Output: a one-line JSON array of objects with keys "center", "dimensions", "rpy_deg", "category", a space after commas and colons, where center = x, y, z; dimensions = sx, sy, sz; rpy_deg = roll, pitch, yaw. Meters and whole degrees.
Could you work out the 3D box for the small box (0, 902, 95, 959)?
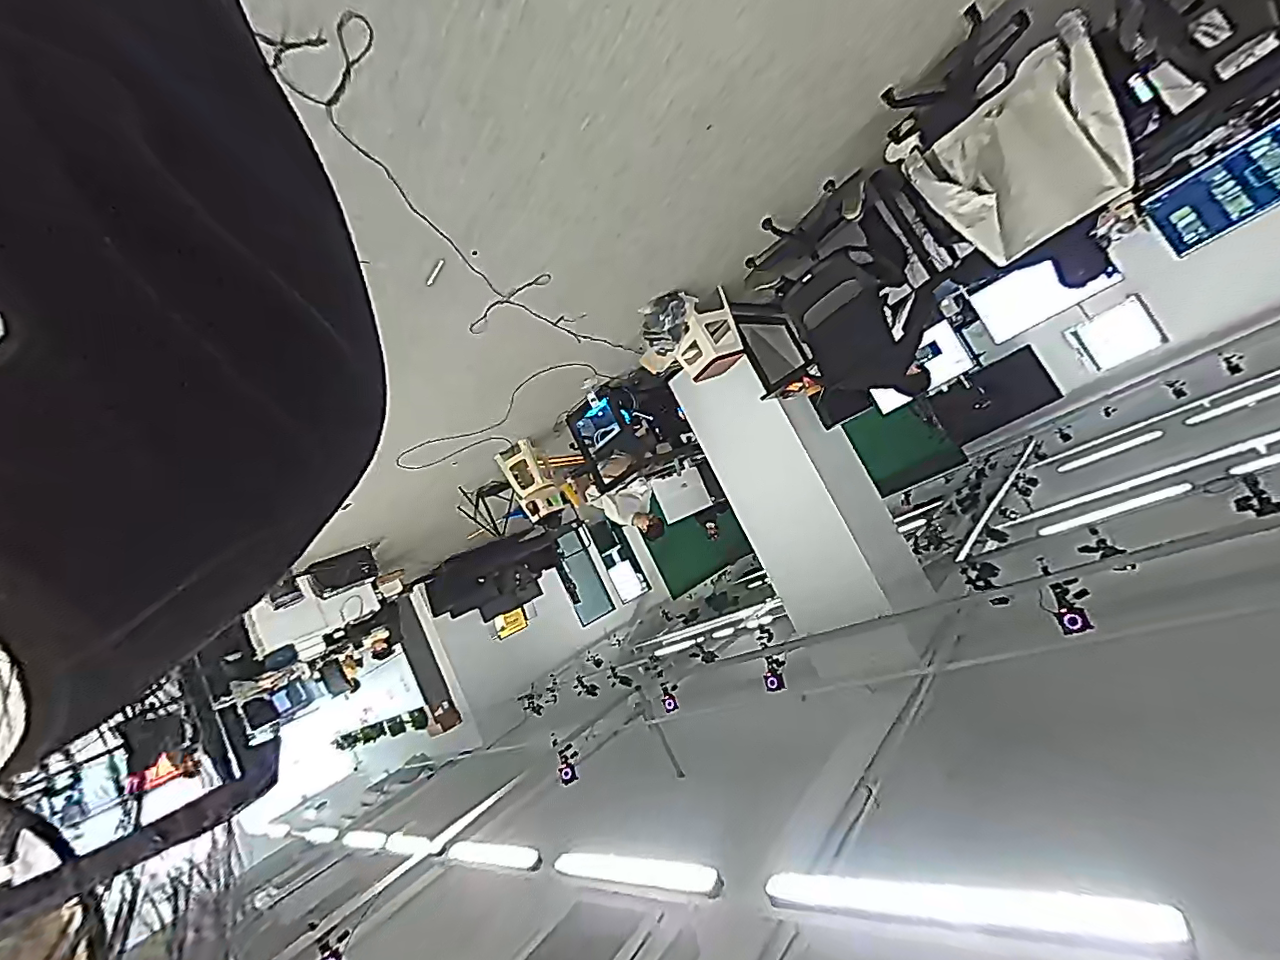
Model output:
[{"center": [-1.489, 1.177, 1.325], "dimensions": [0.179, 0.176, 0.168], "rpy_deg": [-18, 170, -45], "category": "small box"}]
